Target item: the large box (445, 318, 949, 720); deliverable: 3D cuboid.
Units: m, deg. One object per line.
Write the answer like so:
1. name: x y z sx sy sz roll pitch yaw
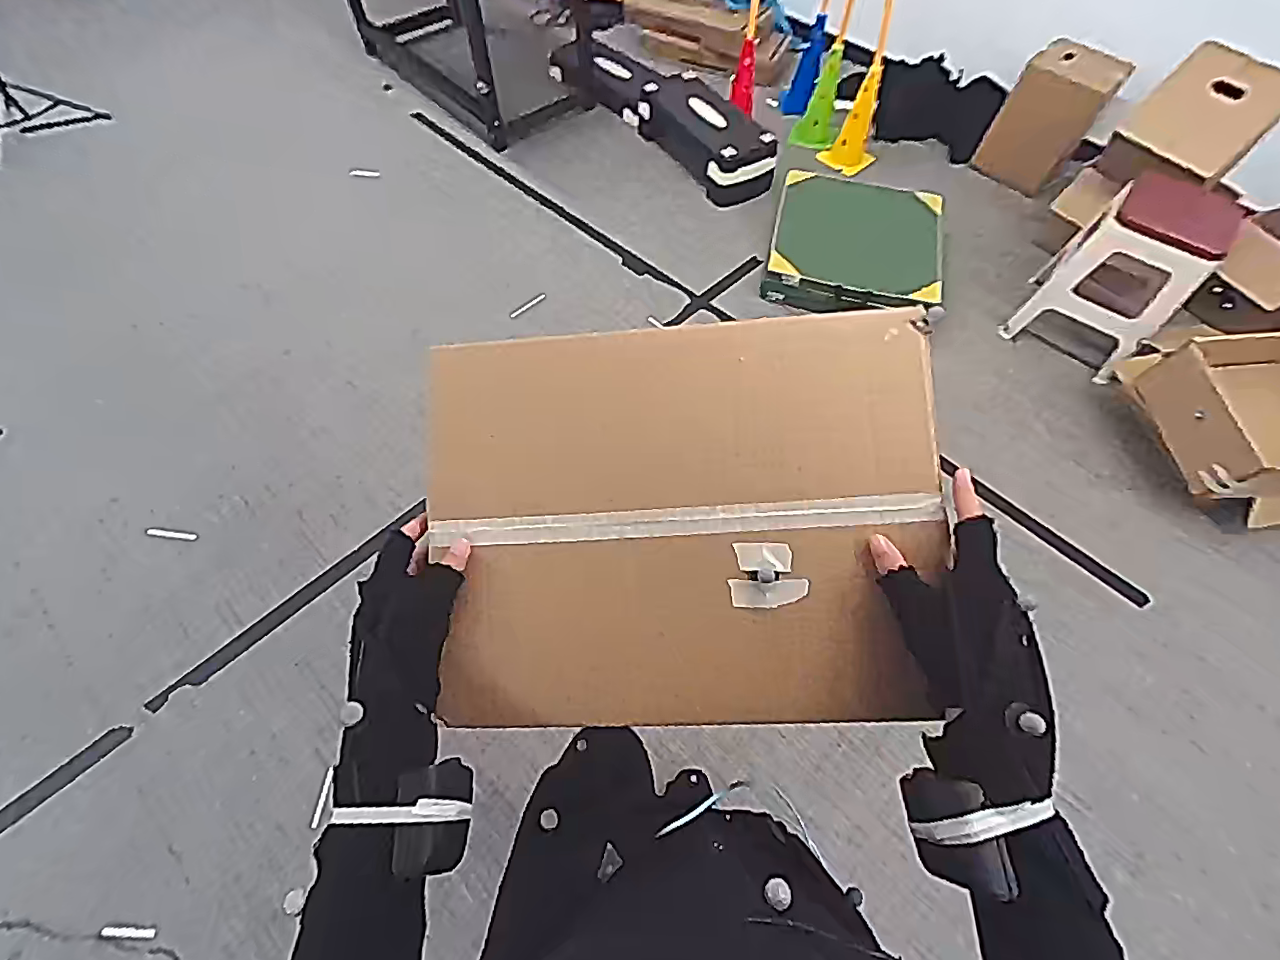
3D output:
1. large box: 0.046 0.045 0.595 0.408 0.320 0.320 -4 86 5
